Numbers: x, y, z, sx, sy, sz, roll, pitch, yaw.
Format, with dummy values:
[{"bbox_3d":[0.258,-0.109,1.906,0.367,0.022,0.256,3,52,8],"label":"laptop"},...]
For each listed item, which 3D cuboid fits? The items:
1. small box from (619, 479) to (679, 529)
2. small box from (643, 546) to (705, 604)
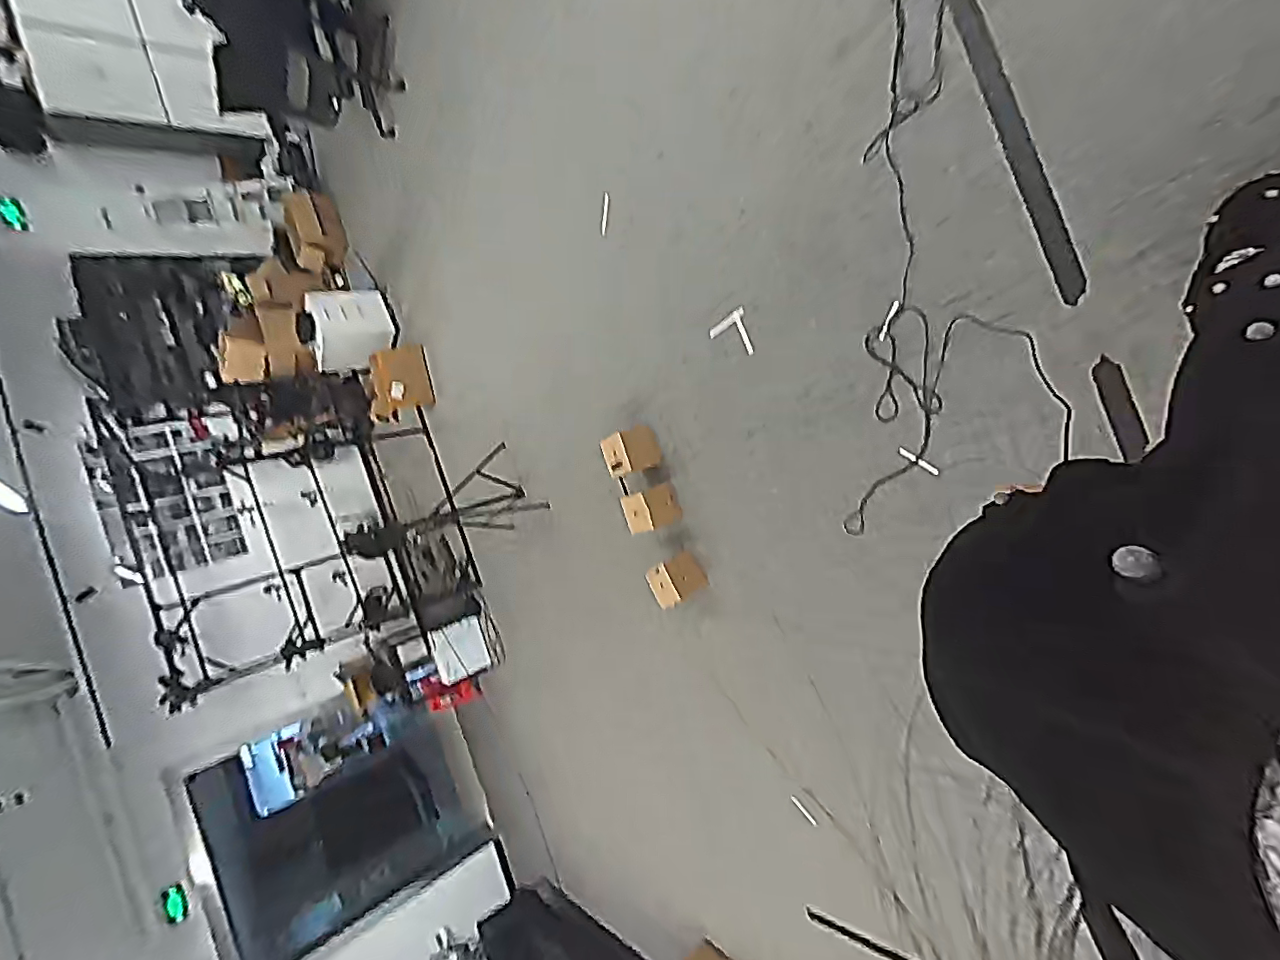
[{"bbox_3d":[0.040,0.104,2.370,0.179,0.176,0.168,-19,91,53],"label":"small box"},{"bbox_3d":[0.151,0.414,2.363,0.168,0.176,0.179,-42,72,50],"label":"small box"}]
